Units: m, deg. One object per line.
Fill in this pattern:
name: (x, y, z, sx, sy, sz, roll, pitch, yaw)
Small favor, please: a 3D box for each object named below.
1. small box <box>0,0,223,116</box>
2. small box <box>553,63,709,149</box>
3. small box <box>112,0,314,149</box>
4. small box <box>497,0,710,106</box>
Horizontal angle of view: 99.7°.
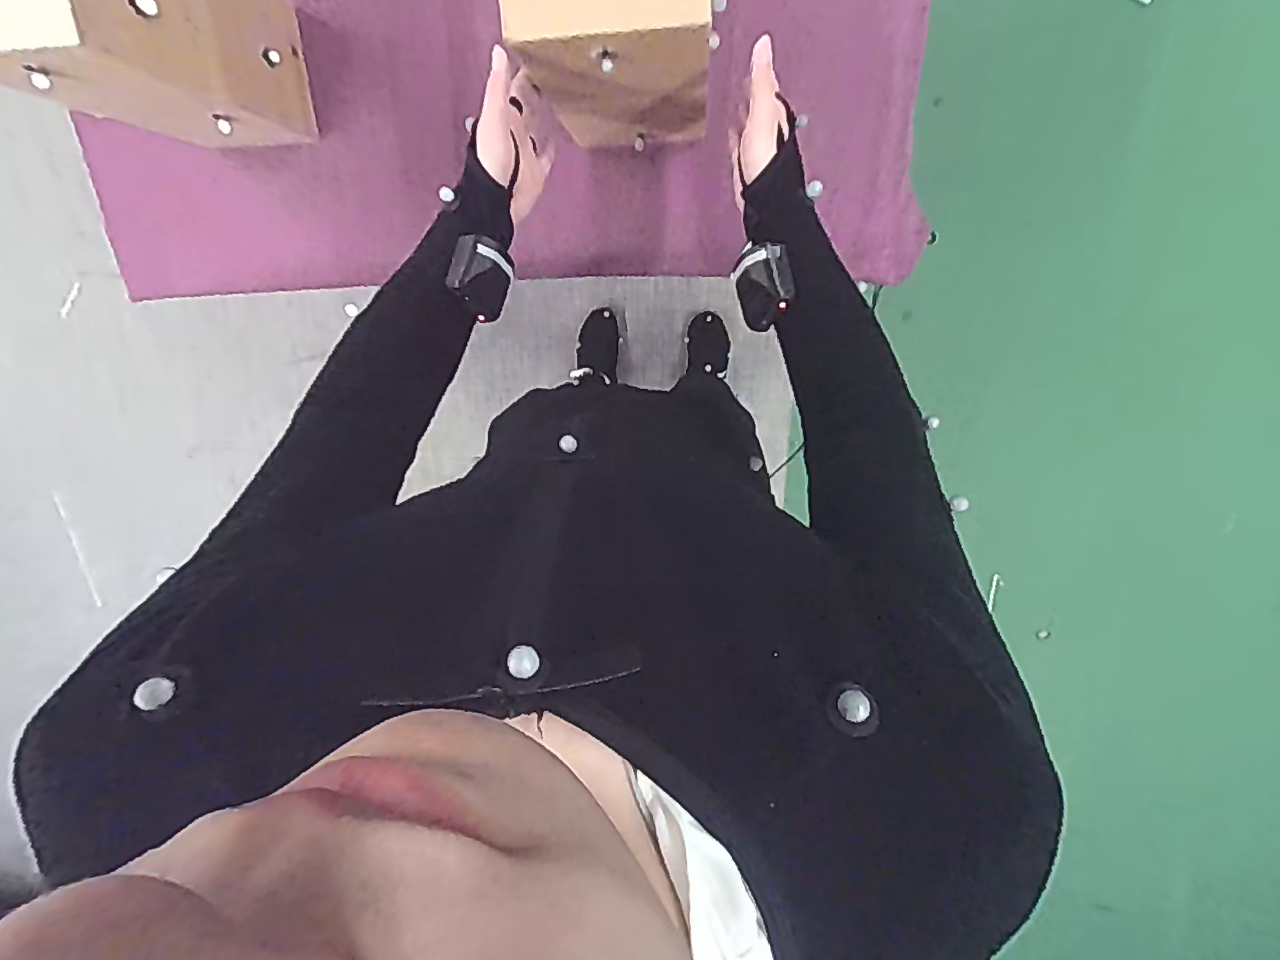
small box: (-0.576, -0.495, 0.554, 0.179, 0.176, 0.168, 1, 109, 6)
small box: (-0.008, -0.519, 0.656, 0.179, 0.176, 0.168, -1, 108, 6)
small box: (-0.560, -0.549, 0.706, 0.179, 0.176, 0.168, 1, 108, 6)
small box: (-0.025, -0.469, 0.500, 0.179, 0.176, 0.168, 0, 109, 6)
